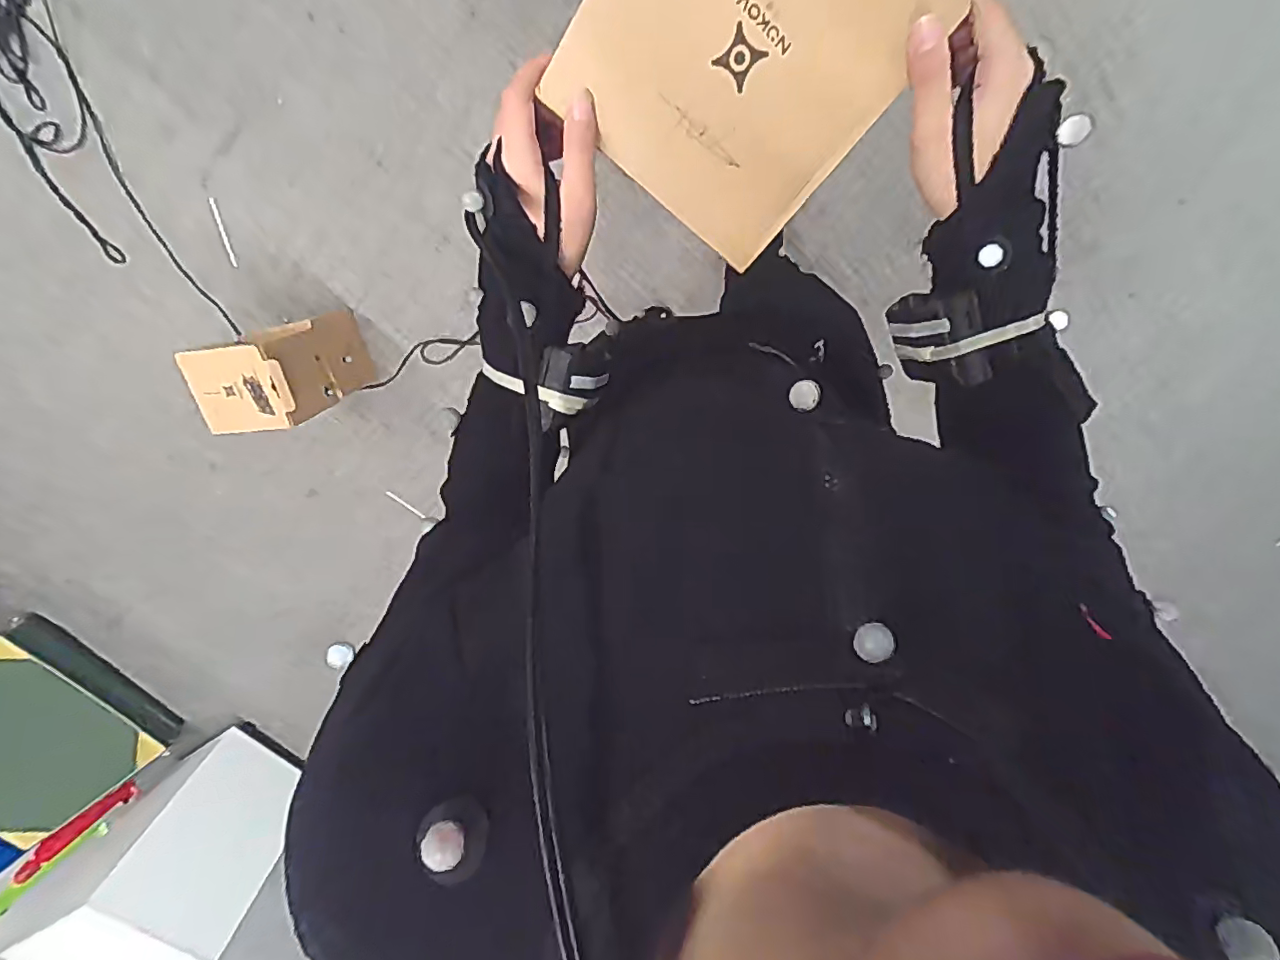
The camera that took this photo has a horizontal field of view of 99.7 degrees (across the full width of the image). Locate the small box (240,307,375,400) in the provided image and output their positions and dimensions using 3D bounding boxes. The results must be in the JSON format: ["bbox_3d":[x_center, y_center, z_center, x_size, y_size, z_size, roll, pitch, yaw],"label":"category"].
[{"bbox_3d":[-0.748,-0.284,1.243,0.168,0.176,0.179,-9,115,8],"label":"small box"}]

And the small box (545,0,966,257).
[{"bbox_3d":[0.063,-0.289,0.352,0.168,0.176,0.179,32,123,-18],"label":"small box"}]

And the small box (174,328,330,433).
[{"bbox_3d":[-0.767,-0.206,1.097,0.179,0.176,0.168,-4,115,6],"label":"small box"}]
